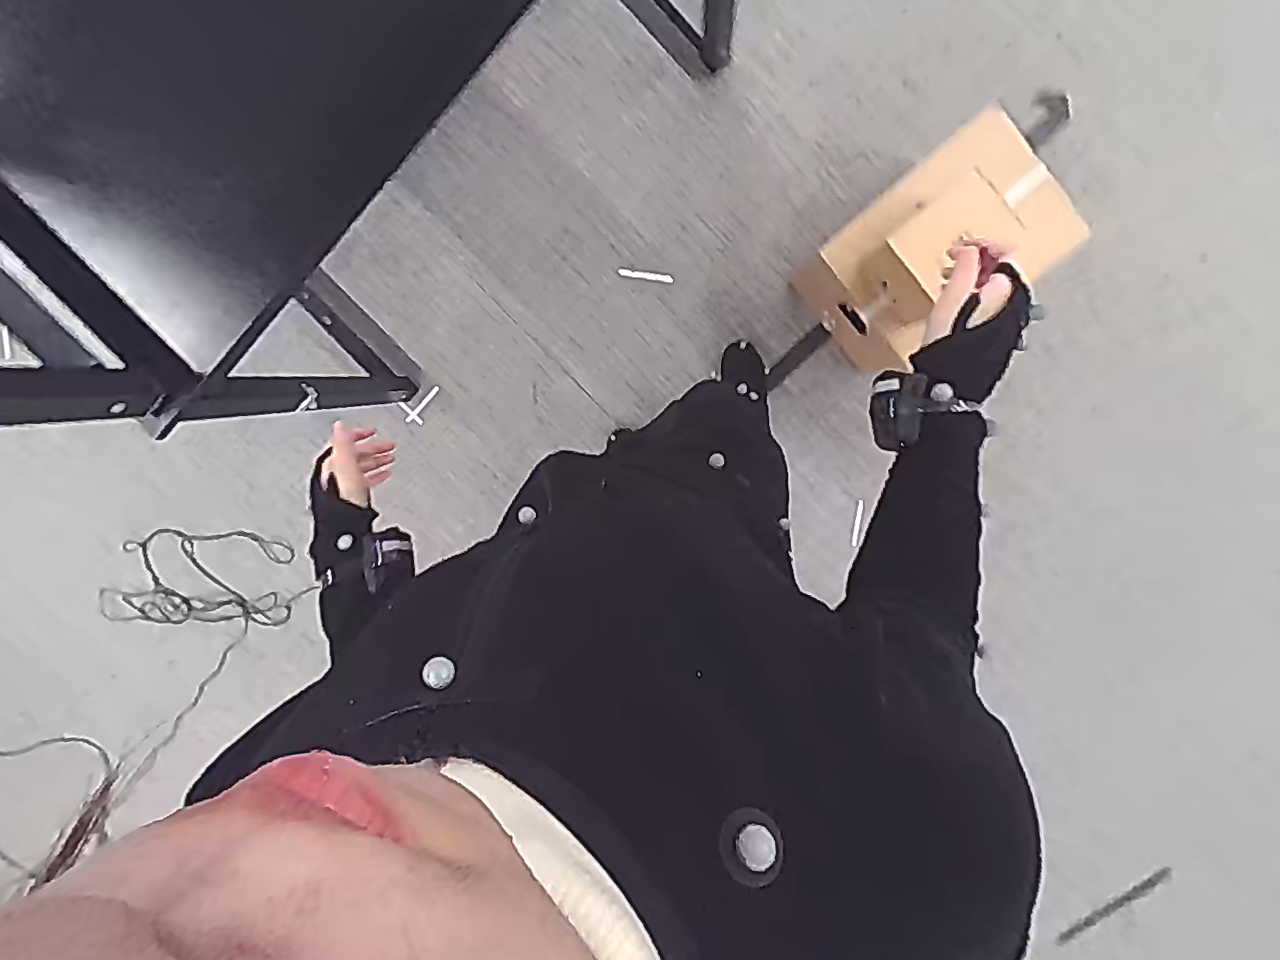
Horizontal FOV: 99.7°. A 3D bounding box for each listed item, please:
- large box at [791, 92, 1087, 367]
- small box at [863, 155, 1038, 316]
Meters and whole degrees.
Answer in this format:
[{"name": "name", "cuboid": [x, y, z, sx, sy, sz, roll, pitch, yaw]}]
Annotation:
[{"name": "large box", "cuboid": [0.604, -0.496, 1.179, 0.408, 0.320, 0.320, -40, 96, 10]}, {"name": "small box", "cuboid": [0.529, -0.414, 0.951, 0.179, 0.176, 0.168, -40, 94, 11]}]
